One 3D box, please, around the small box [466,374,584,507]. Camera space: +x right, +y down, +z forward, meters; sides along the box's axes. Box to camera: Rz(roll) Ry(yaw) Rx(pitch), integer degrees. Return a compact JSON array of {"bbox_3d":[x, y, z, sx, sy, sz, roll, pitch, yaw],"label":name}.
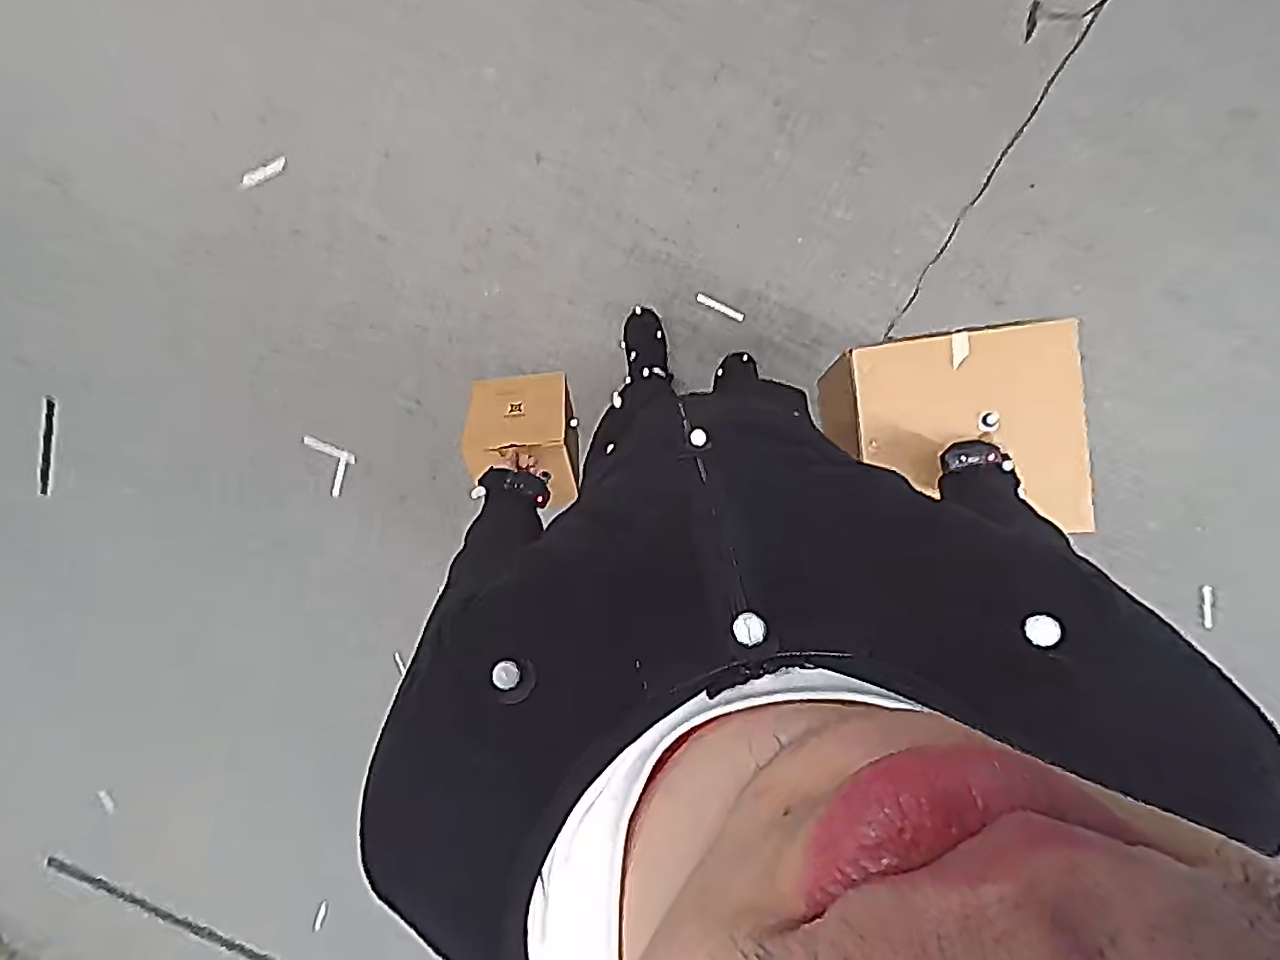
[{"bbox_3d":[-0.195,-0.064,0.971,0.168,0.179,0.176,-6,139,1],"label":"small box"}]
